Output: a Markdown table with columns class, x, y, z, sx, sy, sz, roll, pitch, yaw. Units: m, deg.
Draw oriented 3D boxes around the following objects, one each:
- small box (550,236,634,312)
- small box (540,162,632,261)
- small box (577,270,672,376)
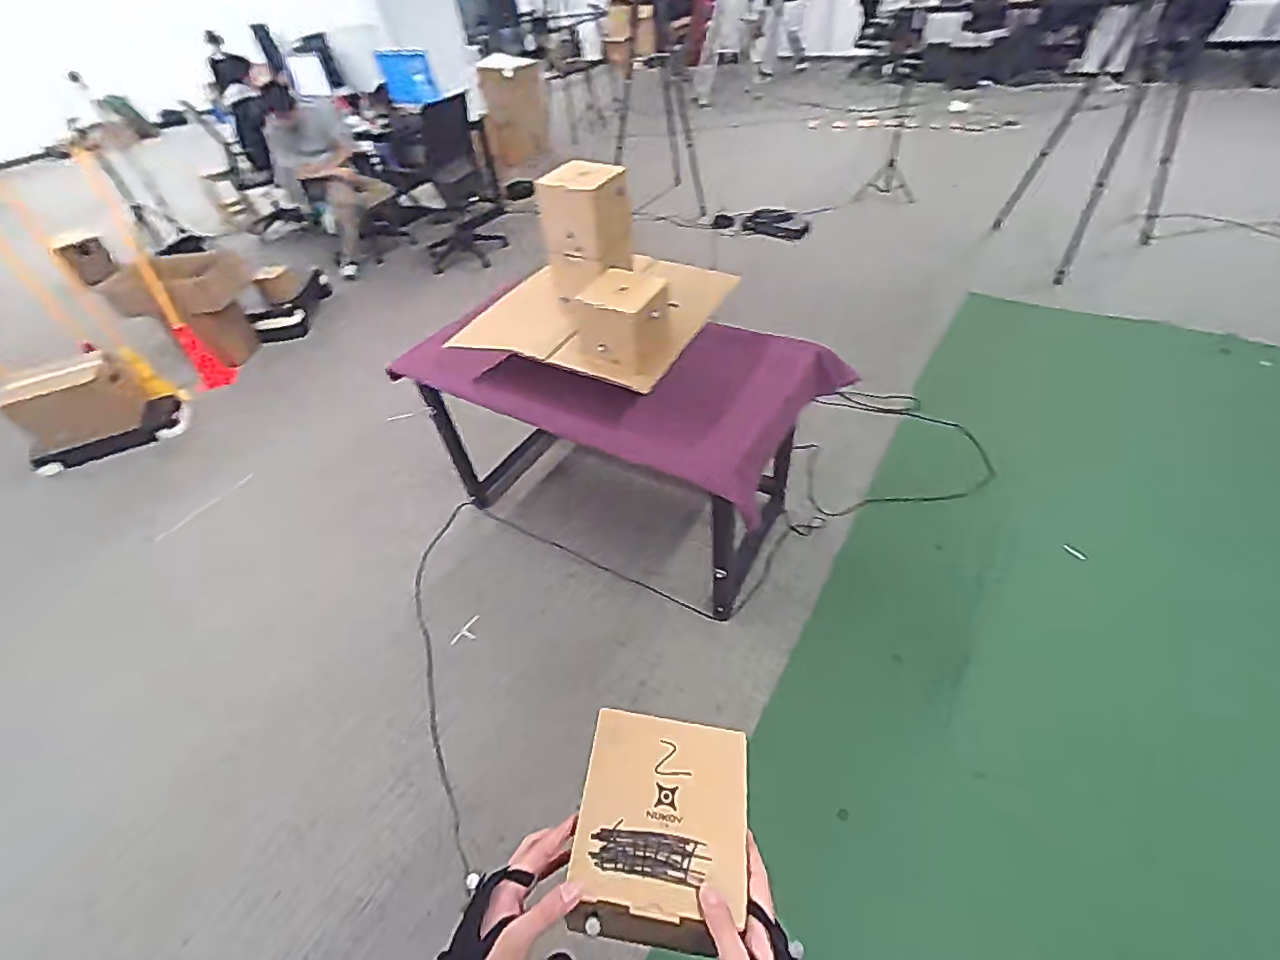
| class | x | y | z | sx | sy | sz | roll | pitch | yaw |
| --- | --- | --- | --- | --- | --- | --- | --- | --- | --- |
| small box | -0.124 | -0.575 | 1.507 | 0.168 | 0.176 | 0.179 | 21 | 51 | 21 |
| small box | -0.132 | -0.689 | 1.389 | 0.168 | 0.176 | 0.179 | 21 | 52 | 22 |
| small box | -0.033 | -0.384 | 1.324 | 0.168 | 0.176 | 0.179 | 20 | 52 | 22 |
